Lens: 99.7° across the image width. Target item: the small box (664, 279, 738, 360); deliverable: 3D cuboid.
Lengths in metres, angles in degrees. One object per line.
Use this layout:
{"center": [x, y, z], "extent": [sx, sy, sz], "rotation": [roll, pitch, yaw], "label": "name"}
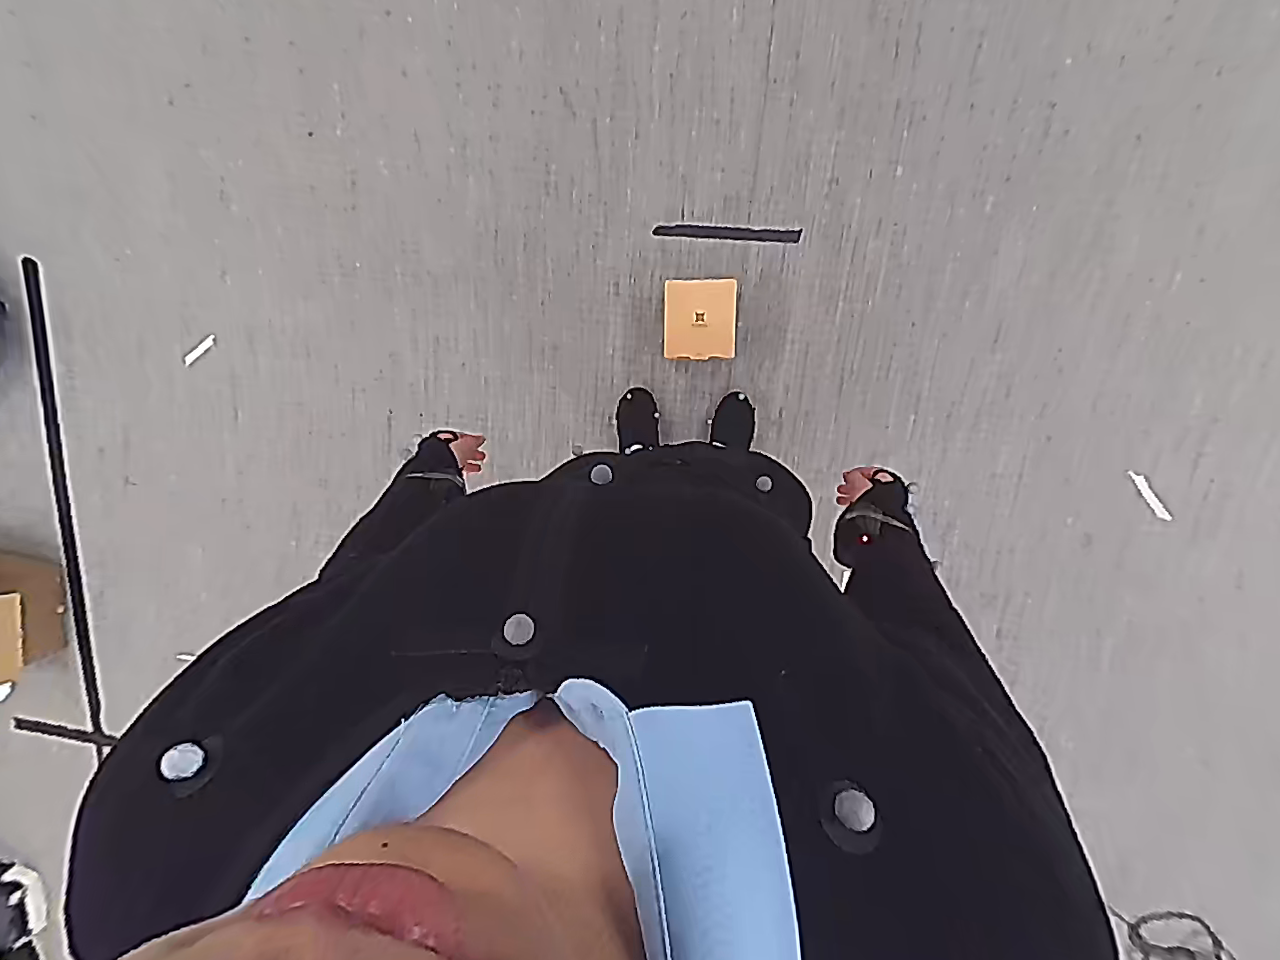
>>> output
{"center": [0.146, -0.383, 1.314], "extent": [0.168, 0.176, 0.179], "rotation": [1, 103, 6], "label": "small box"}
